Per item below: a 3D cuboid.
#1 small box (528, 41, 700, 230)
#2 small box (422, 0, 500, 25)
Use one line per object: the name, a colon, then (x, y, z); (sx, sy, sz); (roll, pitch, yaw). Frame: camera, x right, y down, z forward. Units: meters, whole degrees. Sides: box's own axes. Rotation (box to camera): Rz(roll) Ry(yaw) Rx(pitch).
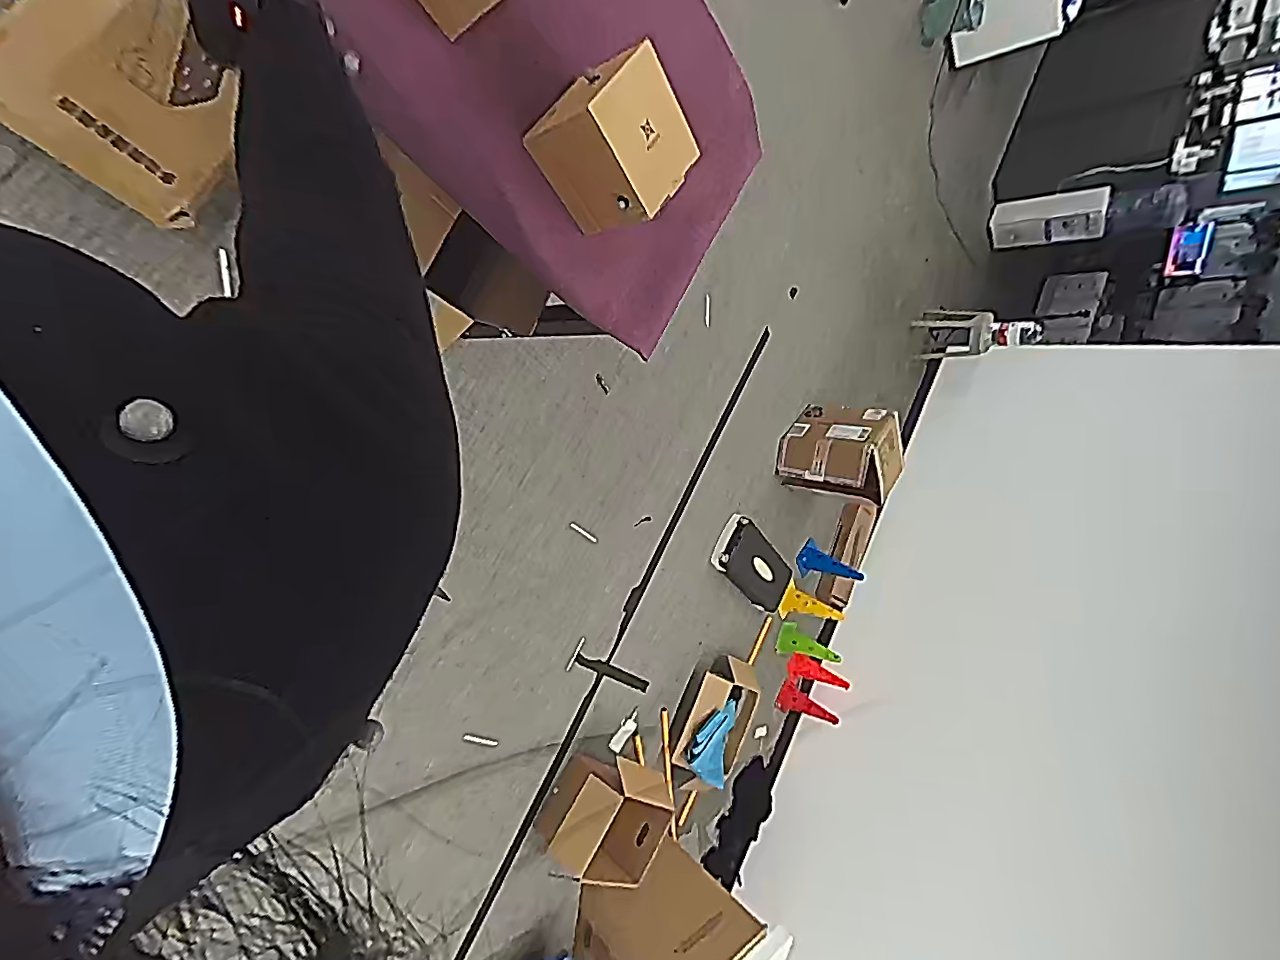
small box: (-0.042, -0.524, 0.850); (0.168, 0.176, 0.179); (-58, 134, -18)
small box: (-0.209, -0.689, 0.635); (0.179, 0.176, 0.168); (39, 70, -44)
